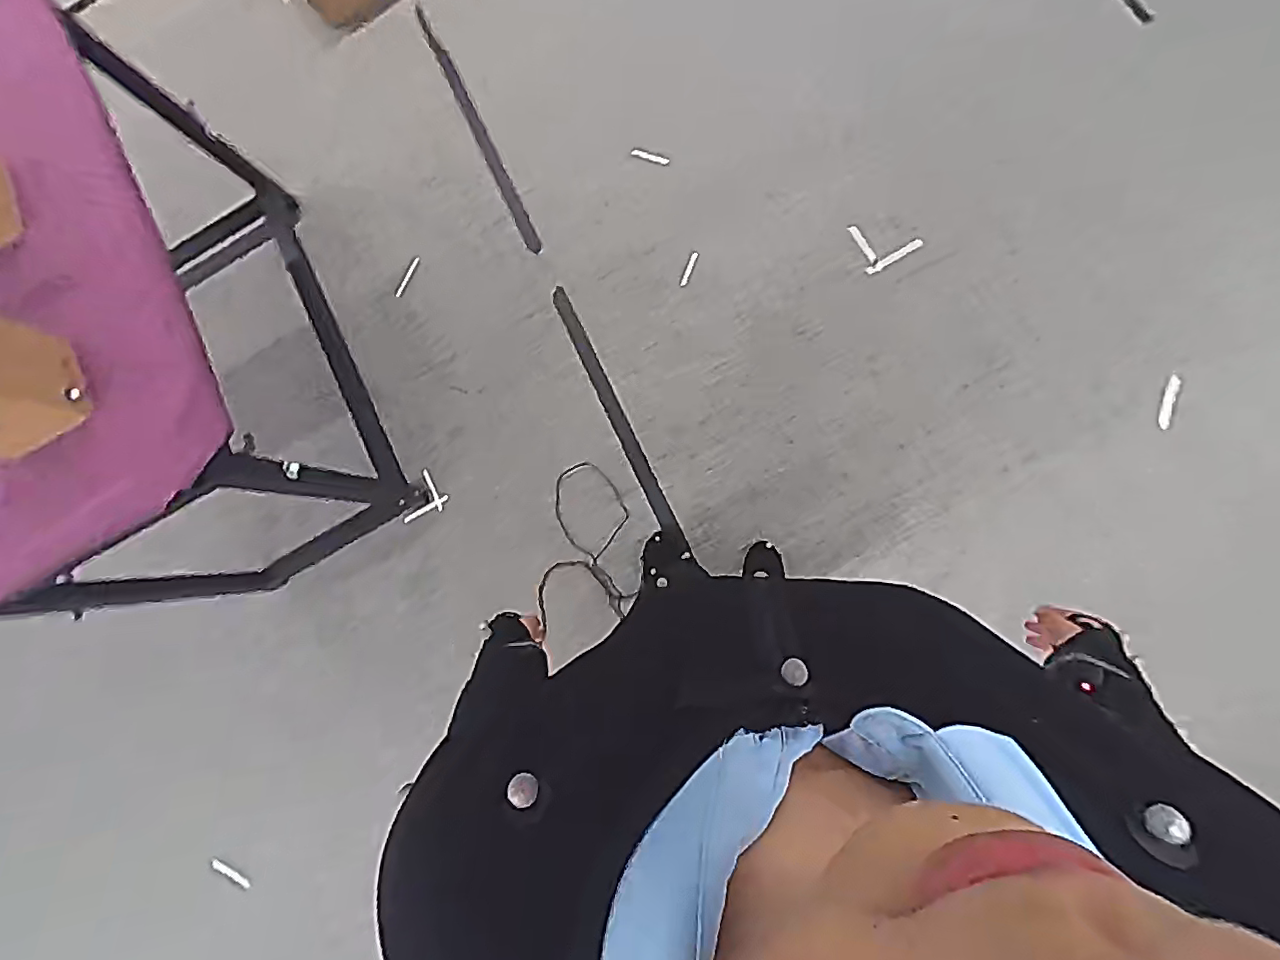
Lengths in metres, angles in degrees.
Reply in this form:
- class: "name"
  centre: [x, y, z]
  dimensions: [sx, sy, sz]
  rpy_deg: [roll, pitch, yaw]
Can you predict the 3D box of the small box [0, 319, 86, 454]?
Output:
- class: "small box"
  centre: [-1.089, -0.162, 0.903]
  dimensions: [0.179, 0.176, 0.168]
  rpy_deg: [-27, 80, 4]
